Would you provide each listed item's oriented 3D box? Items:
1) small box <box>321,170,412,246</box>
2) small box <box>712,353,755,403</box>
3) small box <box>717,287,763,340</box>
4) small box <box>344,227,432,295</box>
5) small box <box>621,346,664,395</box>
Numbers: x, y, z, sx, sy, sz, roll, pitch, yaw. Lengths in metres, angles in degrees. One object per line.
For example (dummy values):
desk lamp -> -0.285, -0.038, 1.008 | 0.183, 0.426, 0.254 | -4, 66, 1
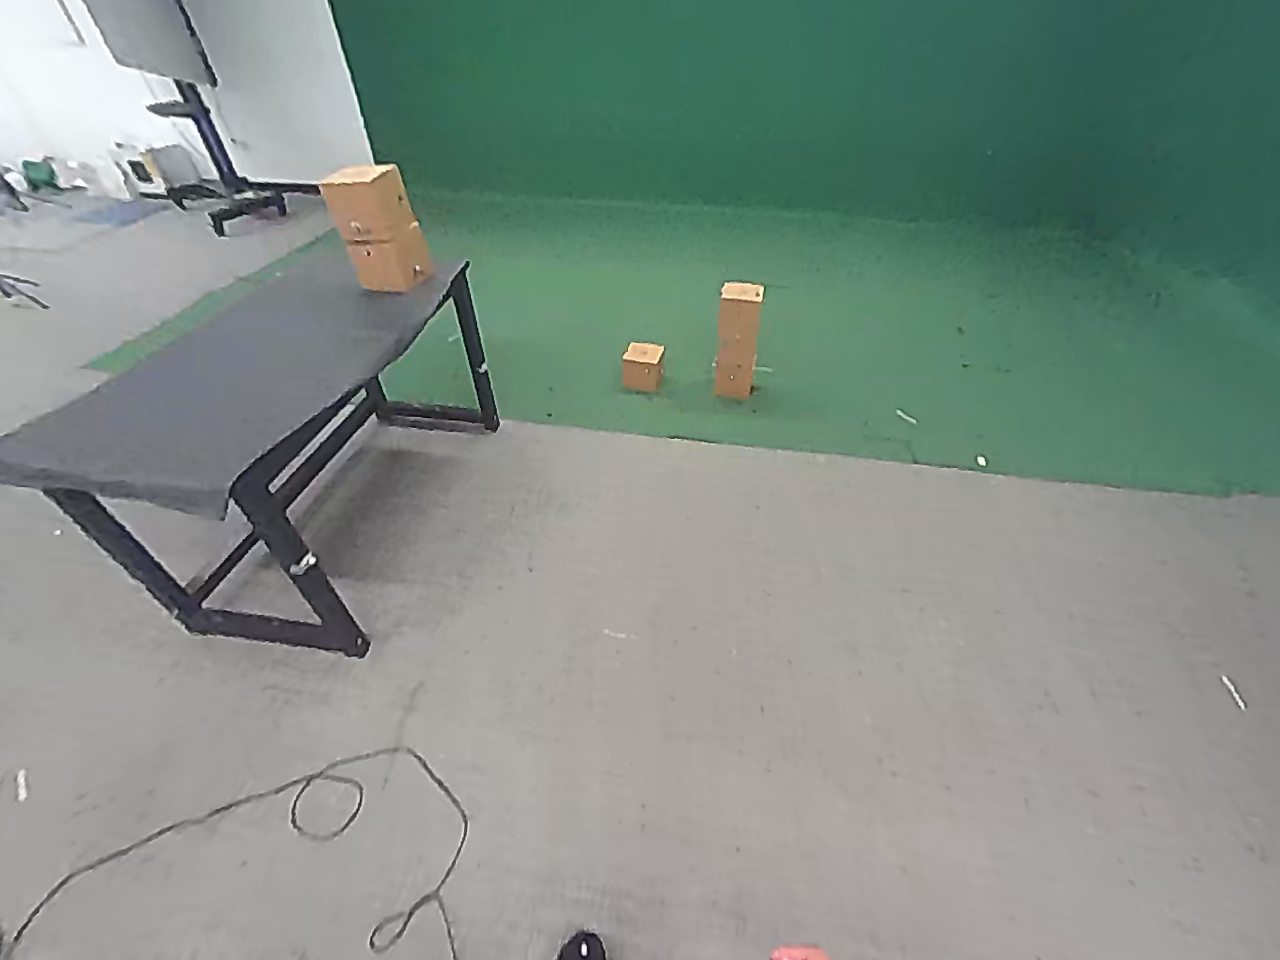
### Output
small box -> -0.827, -0.835, 1.661 | 0.168, 0.176, 0.179 | 2, 44, 8
small box -> 0.453, -0.492, 2.613 | 0.179, 0.176, 0.168 | 9, 44, 10
small box -> 0.441, -0.736, 2.393 | 0.179, 0.176, 0.168 | 8, 43, 10
small box -> -0.819, -0.723, 1.778 | 0.179, 0.176, 0.168 | 9, 44, 12
small box -> 0.015, -0.537, 2.659 | 0.179, 0.176, 0.168 | 11, 43, 12
